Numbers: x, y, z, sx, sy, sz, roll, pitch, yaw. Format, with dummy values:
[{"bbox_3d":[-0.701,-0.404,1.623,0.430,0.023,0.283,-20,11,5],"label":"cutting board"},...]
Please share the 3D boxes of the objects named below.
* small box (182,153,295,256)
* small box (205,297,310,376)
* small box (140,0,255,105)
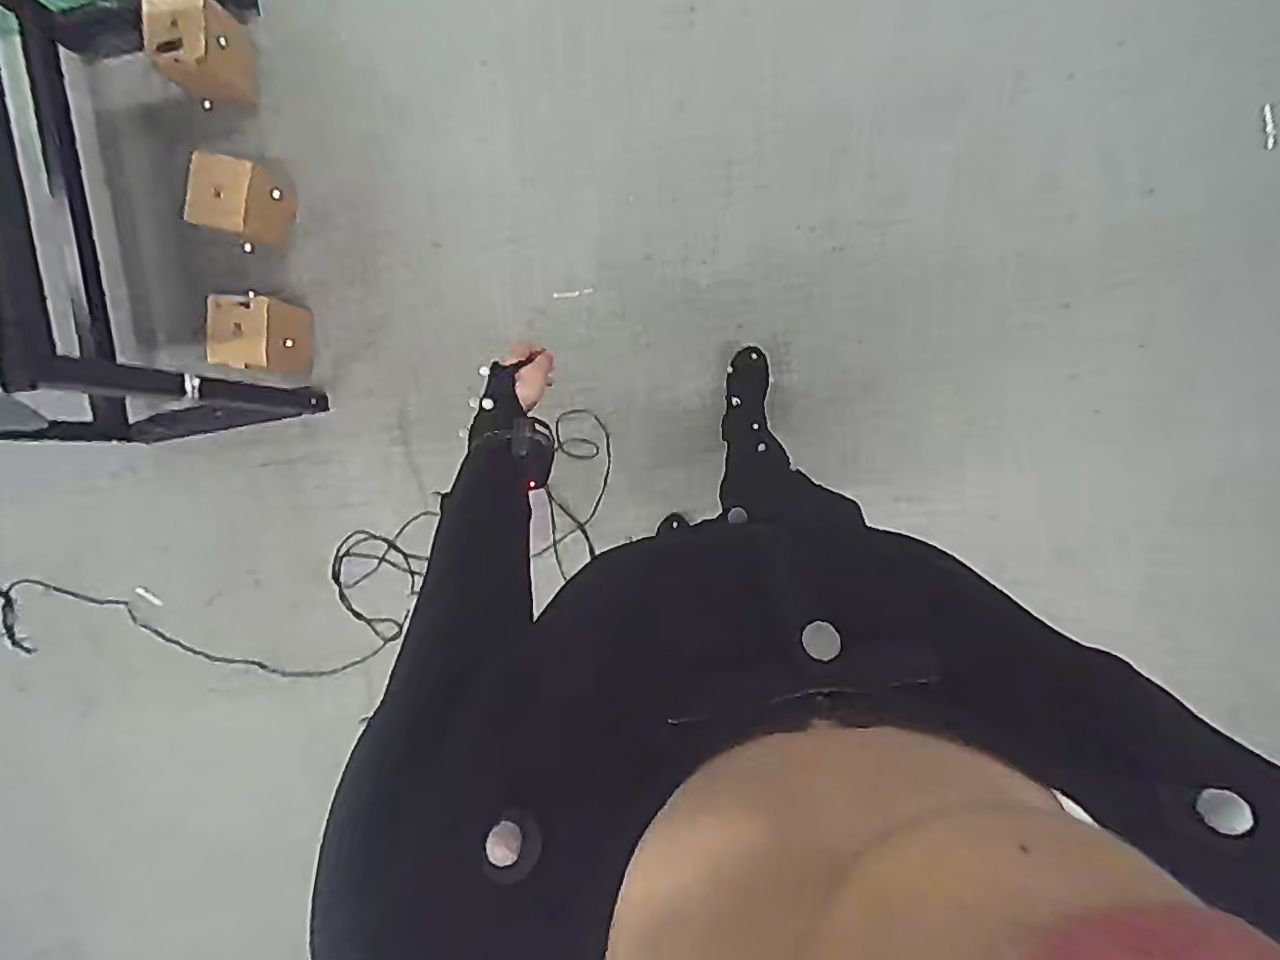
[{"bbox_3d":[-1.051,-0.721,1.429,0.168,0.176,0.179,12,95,4],"label":"small box"},{"bbox_3d":[-1.014,-0.375,1.445,0.168,0.176,0.179,4,94,4],"label":"small box"},{"bbox_3d":[-1.147,-1.116,1.414,0.168,0.176,0.179,-3,92,4],"label":"small box"}]
